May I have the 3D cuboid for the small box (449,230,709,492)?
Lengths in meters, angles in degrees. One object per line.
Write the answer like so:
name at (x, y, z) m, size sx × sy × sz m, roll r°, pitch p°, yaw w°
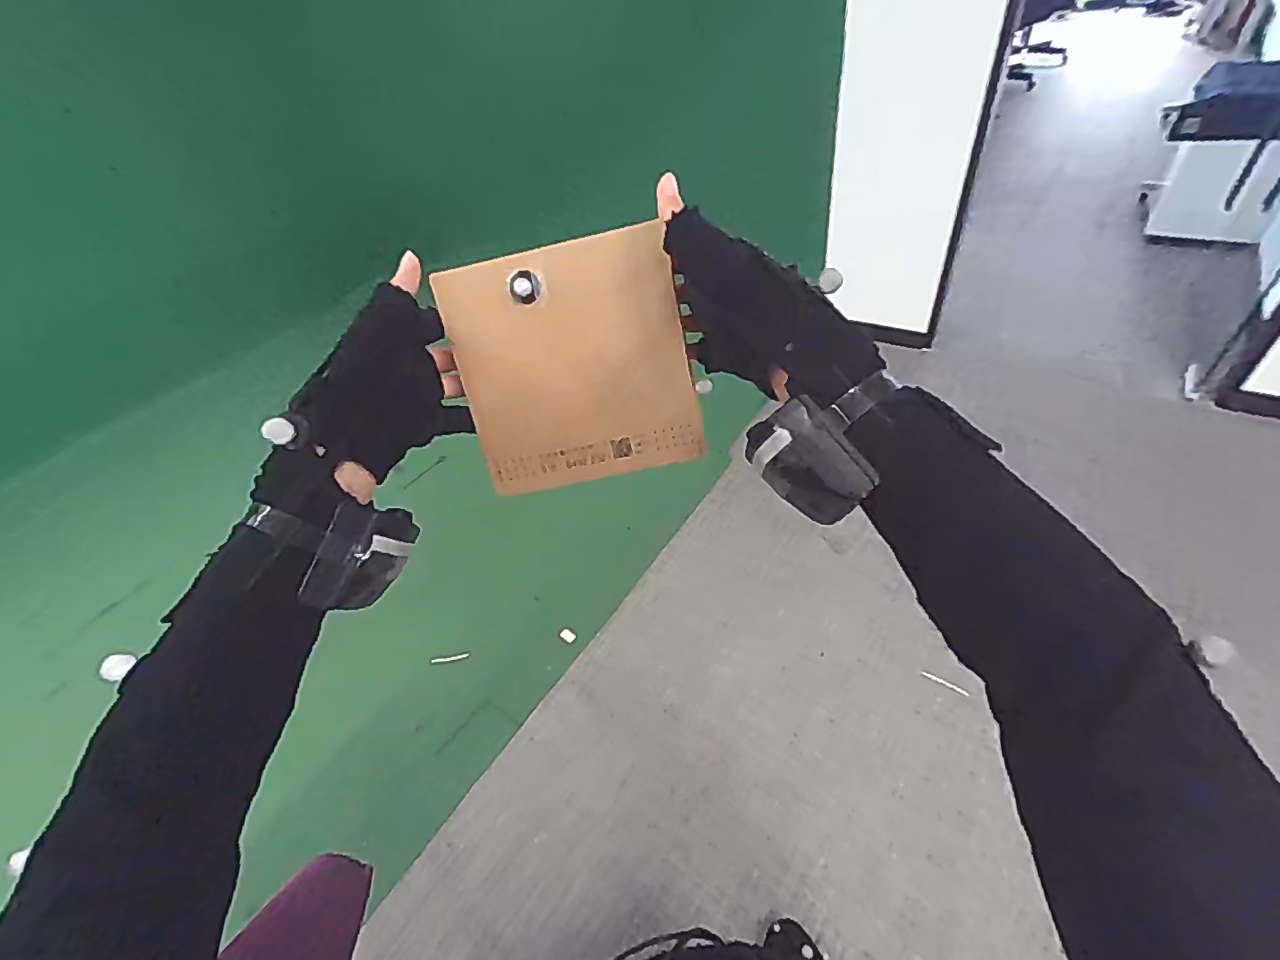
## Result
small box at (-0.037, -0.099, 0.473) m, size 0.168 × 0.176 × 0.179 m, roll -11°, pitch 15°, yaw 6°
